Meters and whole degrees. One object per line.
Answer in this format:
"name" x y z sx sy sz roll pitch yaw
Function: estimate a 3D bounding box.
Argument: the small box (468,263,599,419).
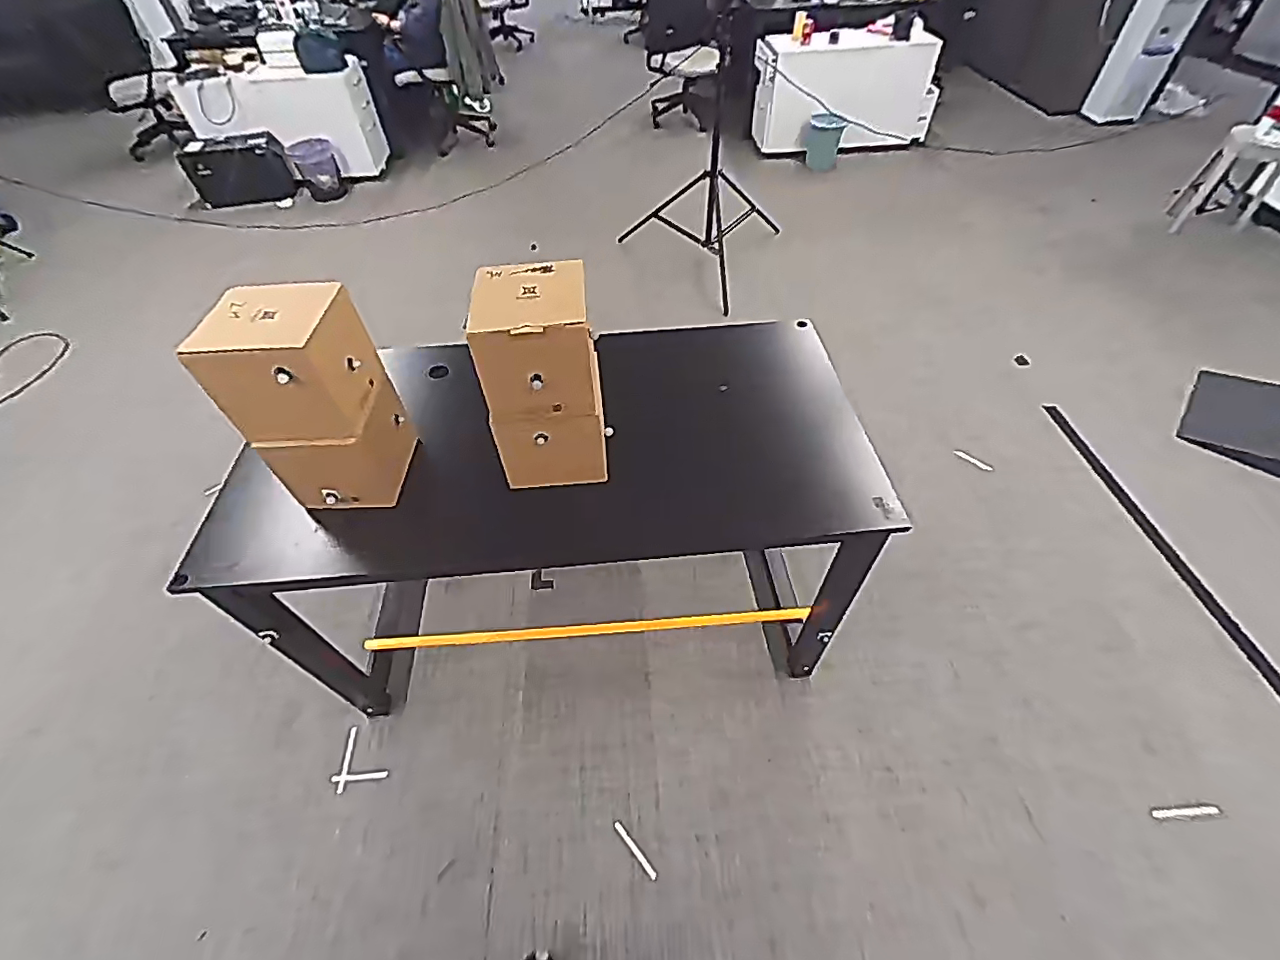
"small box" -0.154 -0.208 0.840 0.168 0.176 0.179 -5 51 -2

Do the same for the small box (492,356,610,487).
"small box" -0.150 -0.100 0.963 0.179 0.176 0.168 -4 50 -2

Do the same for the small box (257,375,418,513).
"small box" -0.510 -0.062 0.947 0.168 0.176 0.179 -3 51 1

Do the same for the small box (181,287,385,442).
"small box" -0.521 -0.172 0.824 0.179 0.176 0.168 -3 49 1
